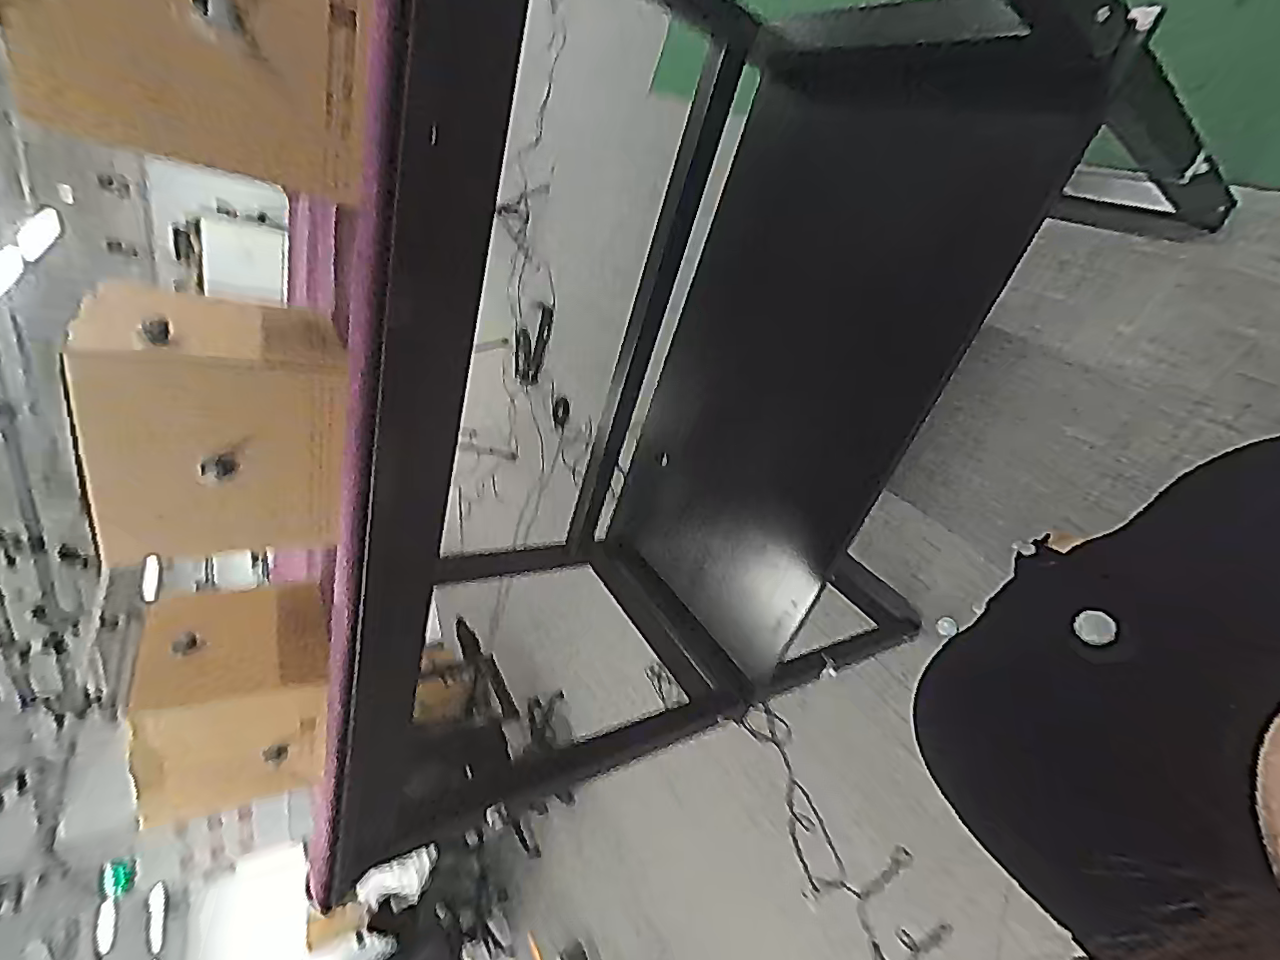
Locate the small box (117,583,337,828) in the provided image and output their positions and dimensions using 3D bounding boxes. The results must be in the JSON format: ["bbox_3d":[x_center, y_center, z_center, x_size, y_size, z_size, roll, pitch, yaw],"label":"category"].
[{"bbox_3d":[-0.448,0.230,0.602,0.179,0.176,0.168,42,123,45],"label":"small box"}]

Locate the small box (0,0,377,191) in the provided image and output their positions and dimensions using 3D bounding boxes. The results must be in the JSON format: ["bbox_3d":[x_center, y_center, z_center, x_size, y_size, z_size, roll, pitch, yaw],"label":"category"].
[{"bbox_3d":[-0.276,-0.304,0.346,0.179,0.176,0.168,45,126,41],"label":"small box"}]
